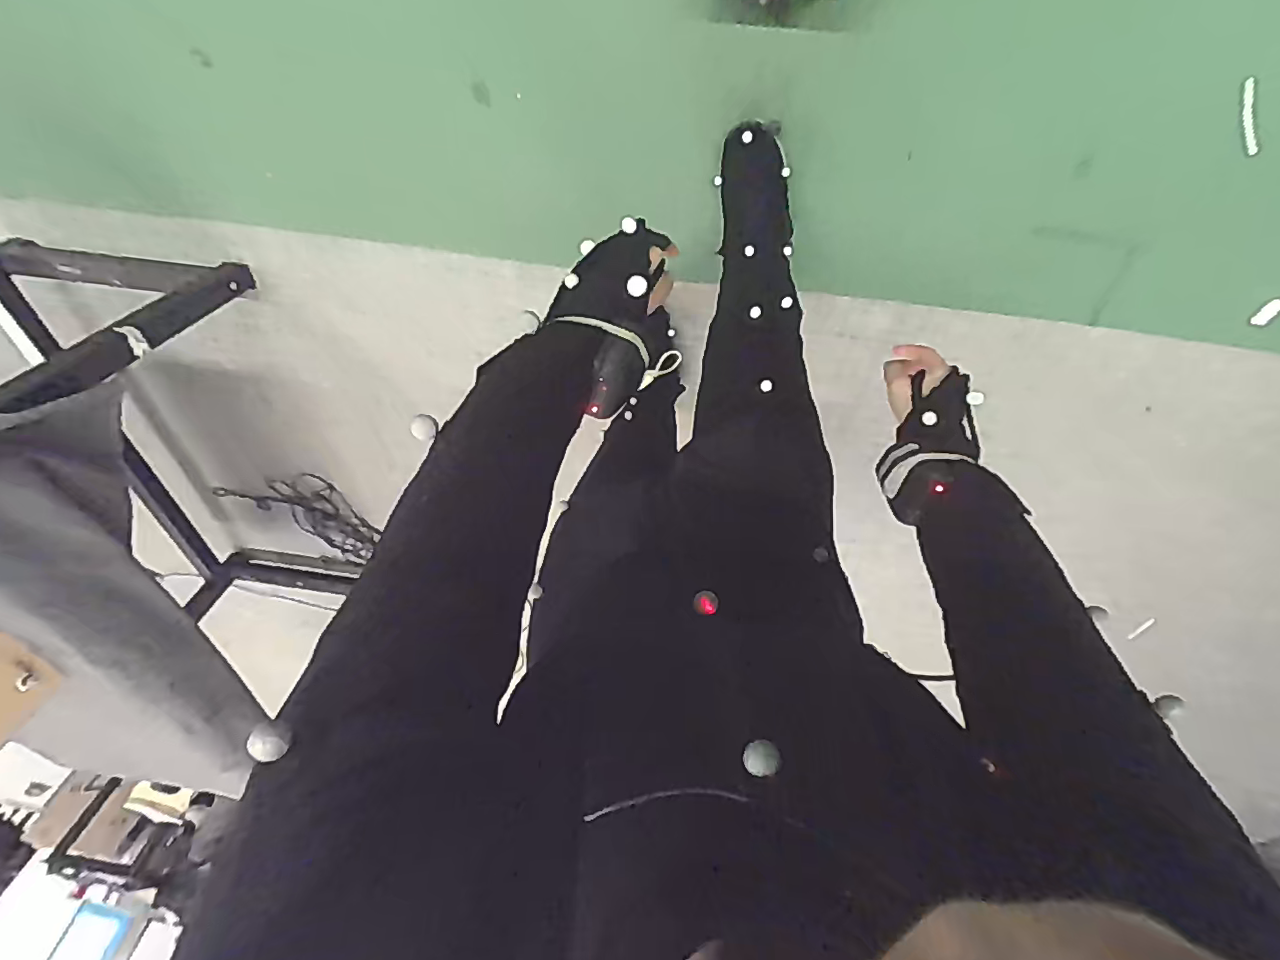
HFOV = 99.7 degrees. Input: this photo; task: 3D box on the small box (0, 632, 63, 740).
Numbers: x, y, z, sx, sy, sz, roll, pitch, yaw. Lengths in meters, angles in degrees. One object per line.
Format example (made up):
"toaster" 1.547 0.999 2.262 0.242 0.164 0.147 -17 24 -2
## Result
"small box" -1.167 0.357 0.911 0.179 0.176 0.168 8 134 2
